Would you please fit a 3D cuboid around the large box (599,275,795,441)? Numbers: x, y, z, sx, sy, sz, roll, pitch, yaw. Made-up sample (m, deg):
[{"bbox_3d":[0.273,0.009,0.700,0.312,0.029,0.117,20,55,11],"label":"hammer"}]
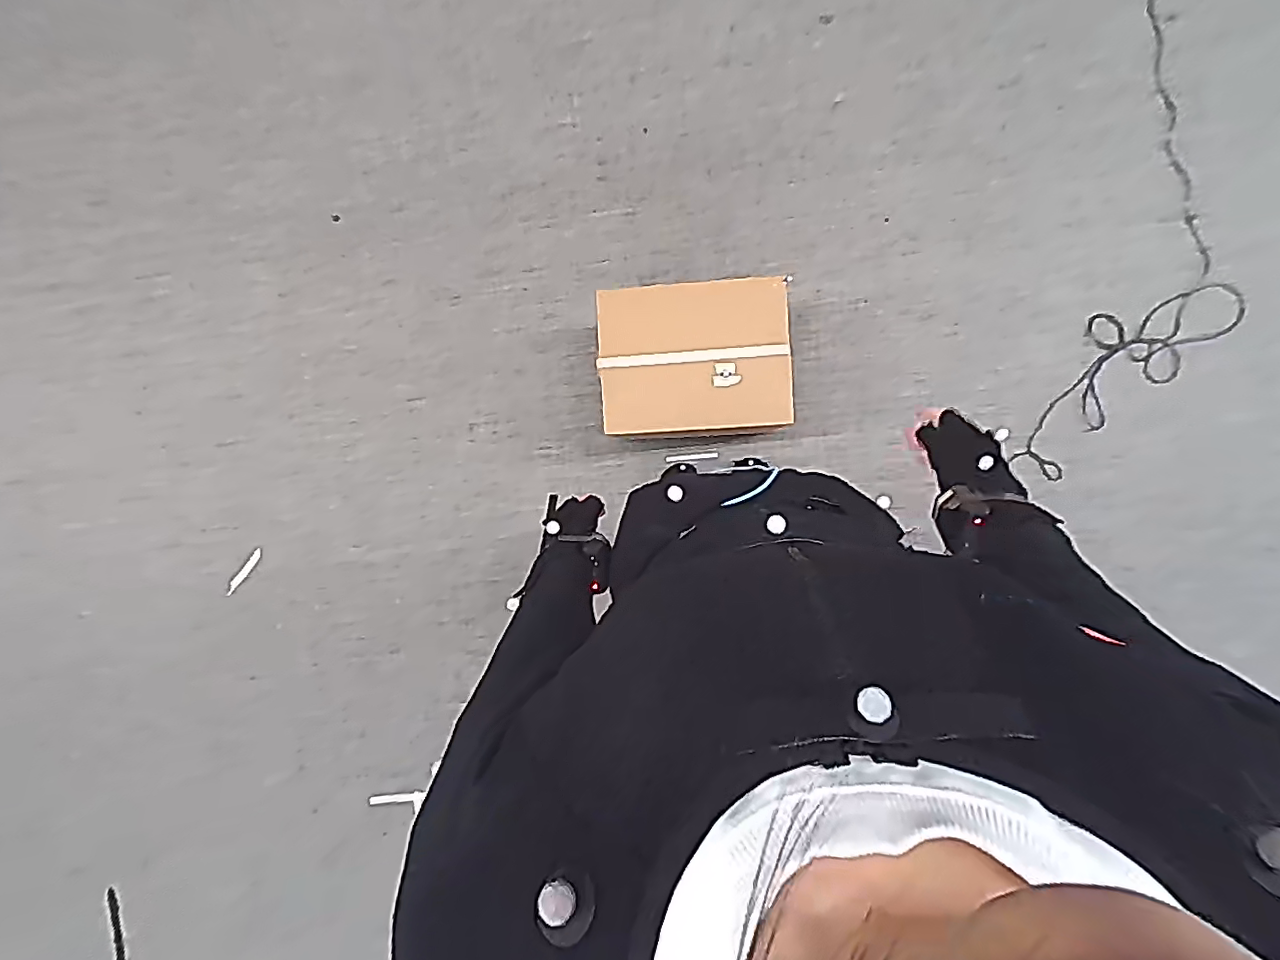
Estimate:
[{"bbox_3d":[0.128,-0.269,1.299,0.408,0.320,0.320,-3,92,4],"label":"large box"}]
